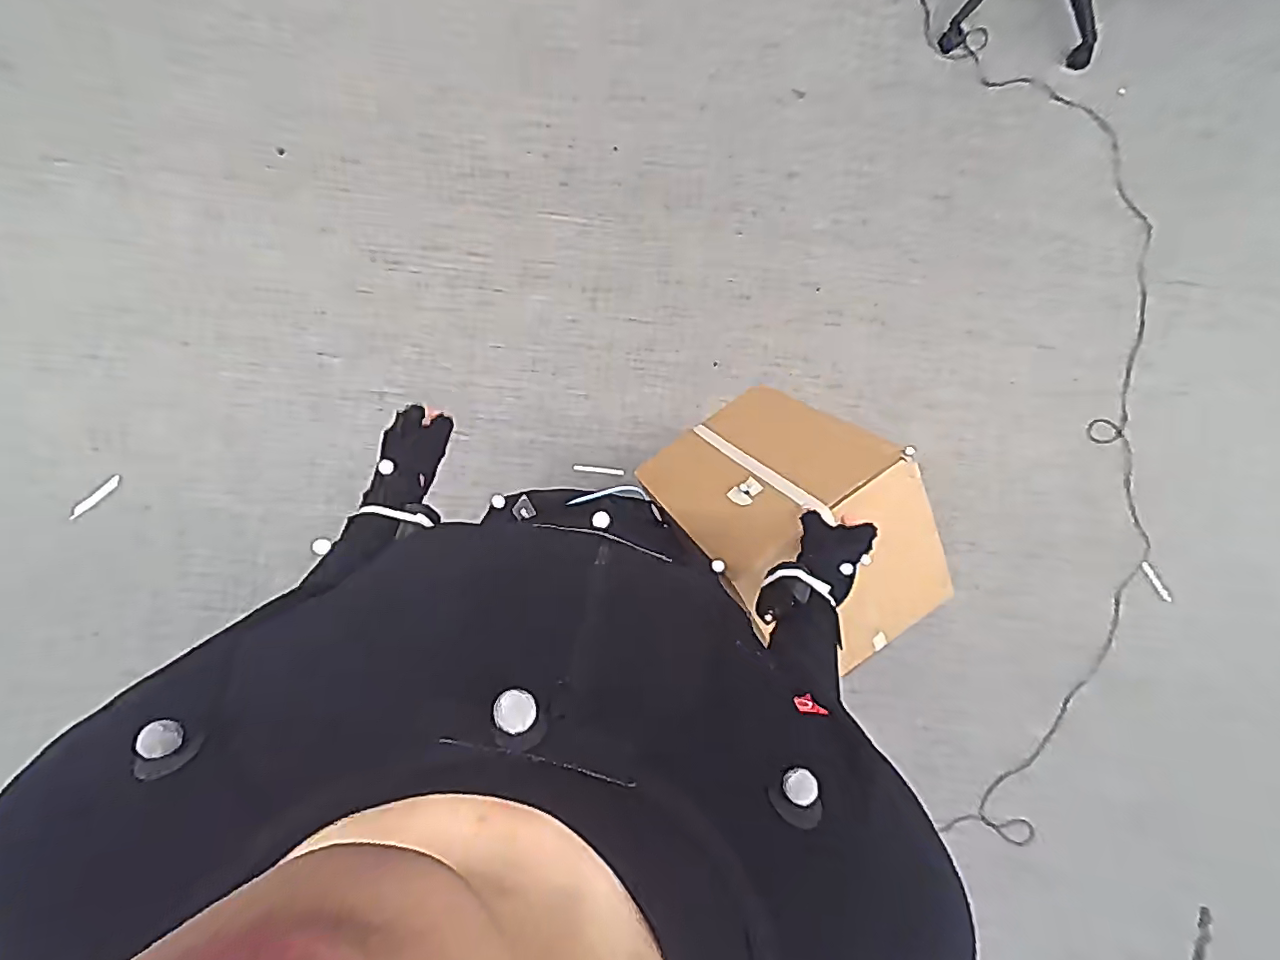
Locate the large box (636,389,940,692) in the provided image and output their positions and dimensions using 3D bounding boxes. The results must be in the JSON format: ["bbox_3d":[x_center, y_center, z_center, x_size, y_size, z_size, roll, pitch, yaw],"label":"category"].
[{"bbox_3d":[0.250,0.085,0.987,0.320,0.408,0.320,-35,121,-3],"label":"large box"}]
